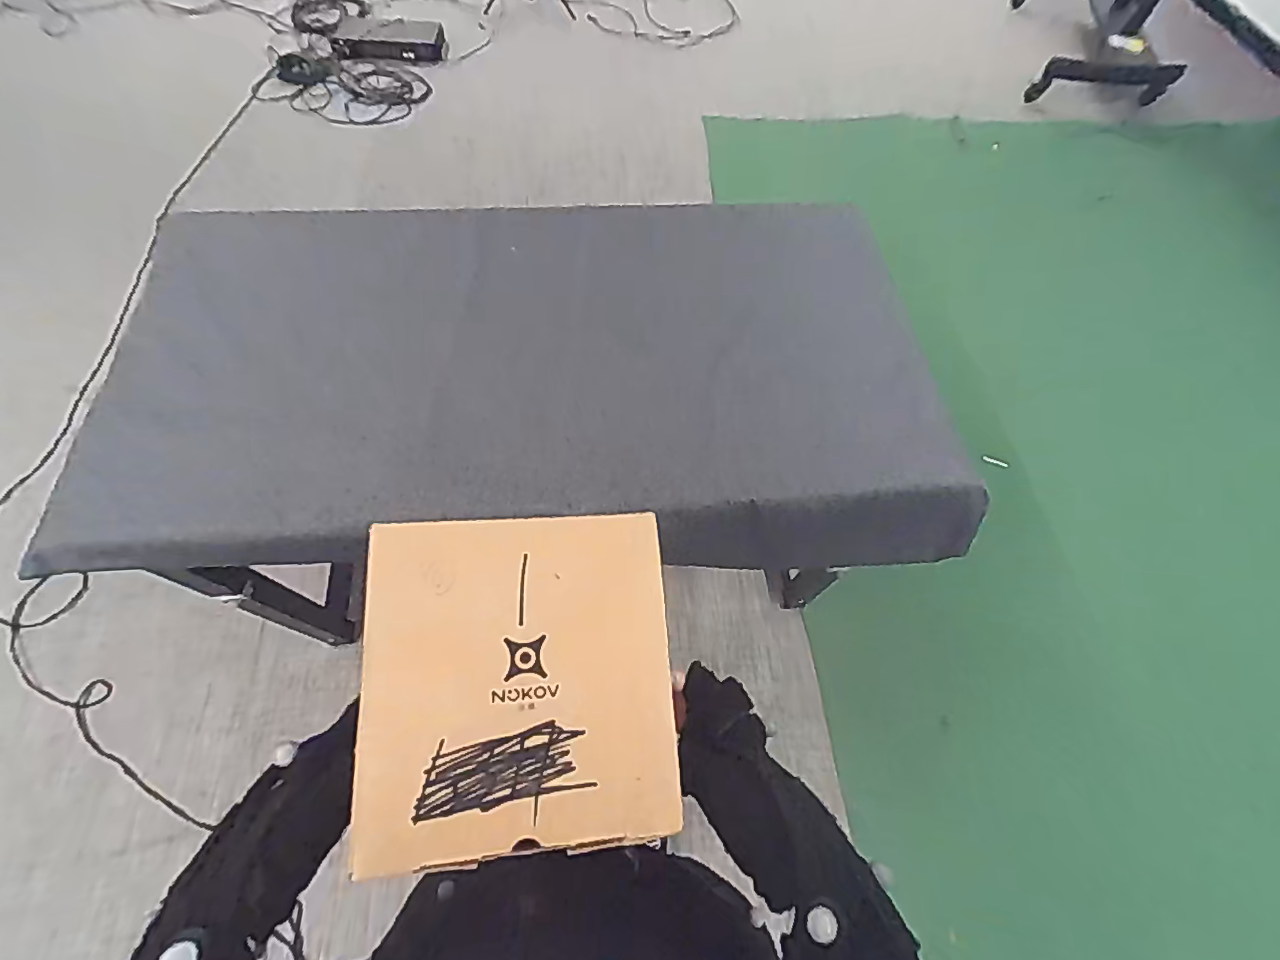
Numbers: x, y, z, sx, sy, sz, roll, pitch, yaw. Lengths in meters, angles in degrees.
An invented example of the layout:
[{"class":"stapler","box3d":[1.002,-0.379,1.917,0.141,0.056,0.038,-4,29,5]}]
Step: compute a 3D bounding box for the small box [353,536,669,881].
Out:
[{"class":"small box","box3d":[-0.080,0.141,0.381,0.168,0.176,0.179,1,71,-11]}]
